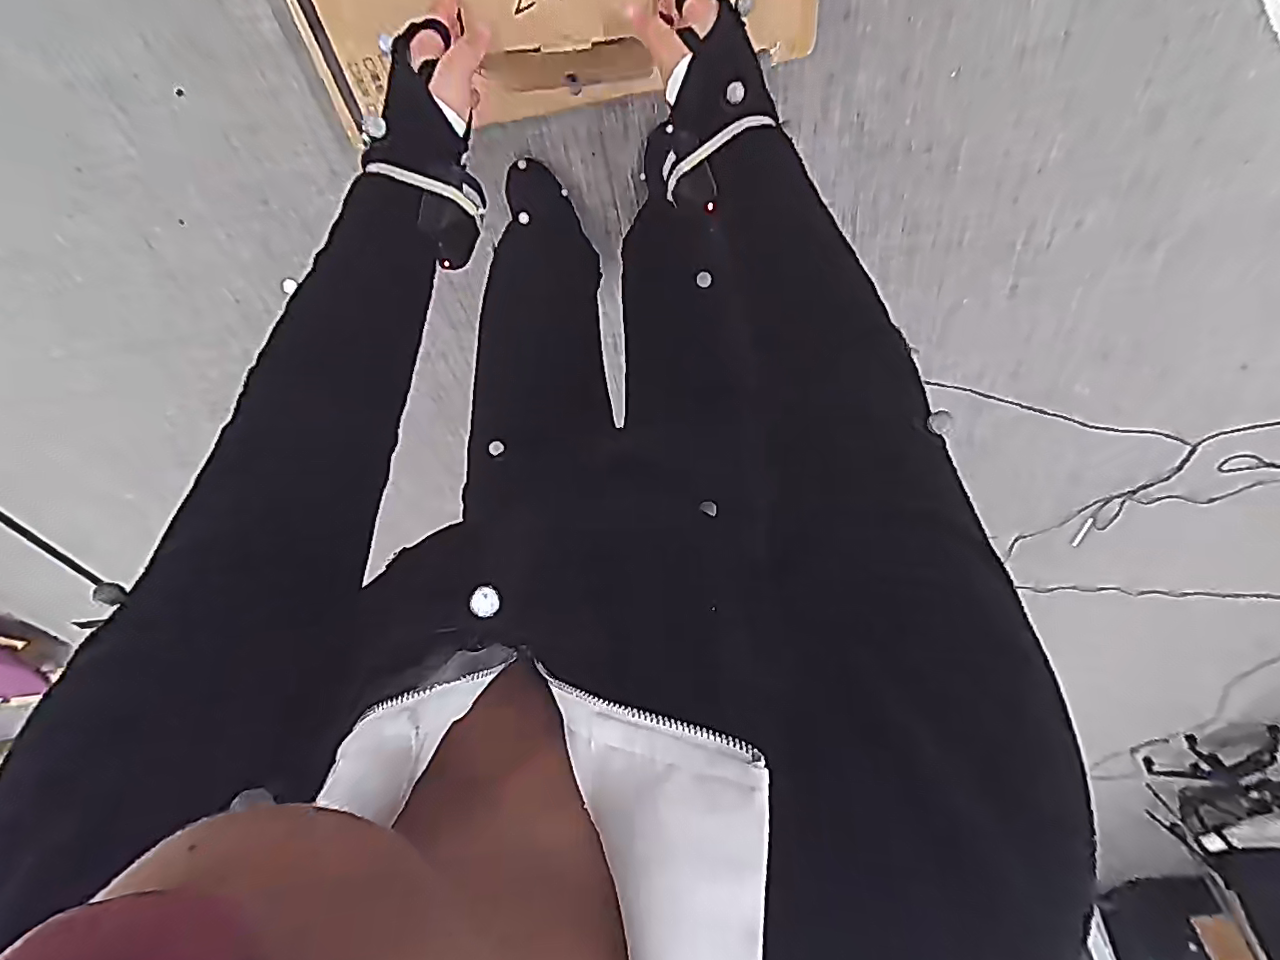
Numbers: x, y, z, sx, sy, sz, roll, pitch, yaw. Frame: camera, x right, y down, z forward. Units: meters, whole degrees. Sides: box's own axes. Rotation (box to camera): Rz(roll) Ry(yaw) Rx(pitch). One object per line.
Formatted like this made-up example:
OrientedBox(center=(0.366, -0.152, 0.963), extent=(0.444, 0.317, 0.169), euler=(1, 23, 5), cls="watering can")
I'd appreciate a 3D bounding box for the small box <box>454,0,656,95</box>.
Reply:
OrientedBox(center=(-0.077, -0.475, 0.489), extent=(0.168, 0.176, 0.179), euler=(-5, 116, -1), cls="small box")
